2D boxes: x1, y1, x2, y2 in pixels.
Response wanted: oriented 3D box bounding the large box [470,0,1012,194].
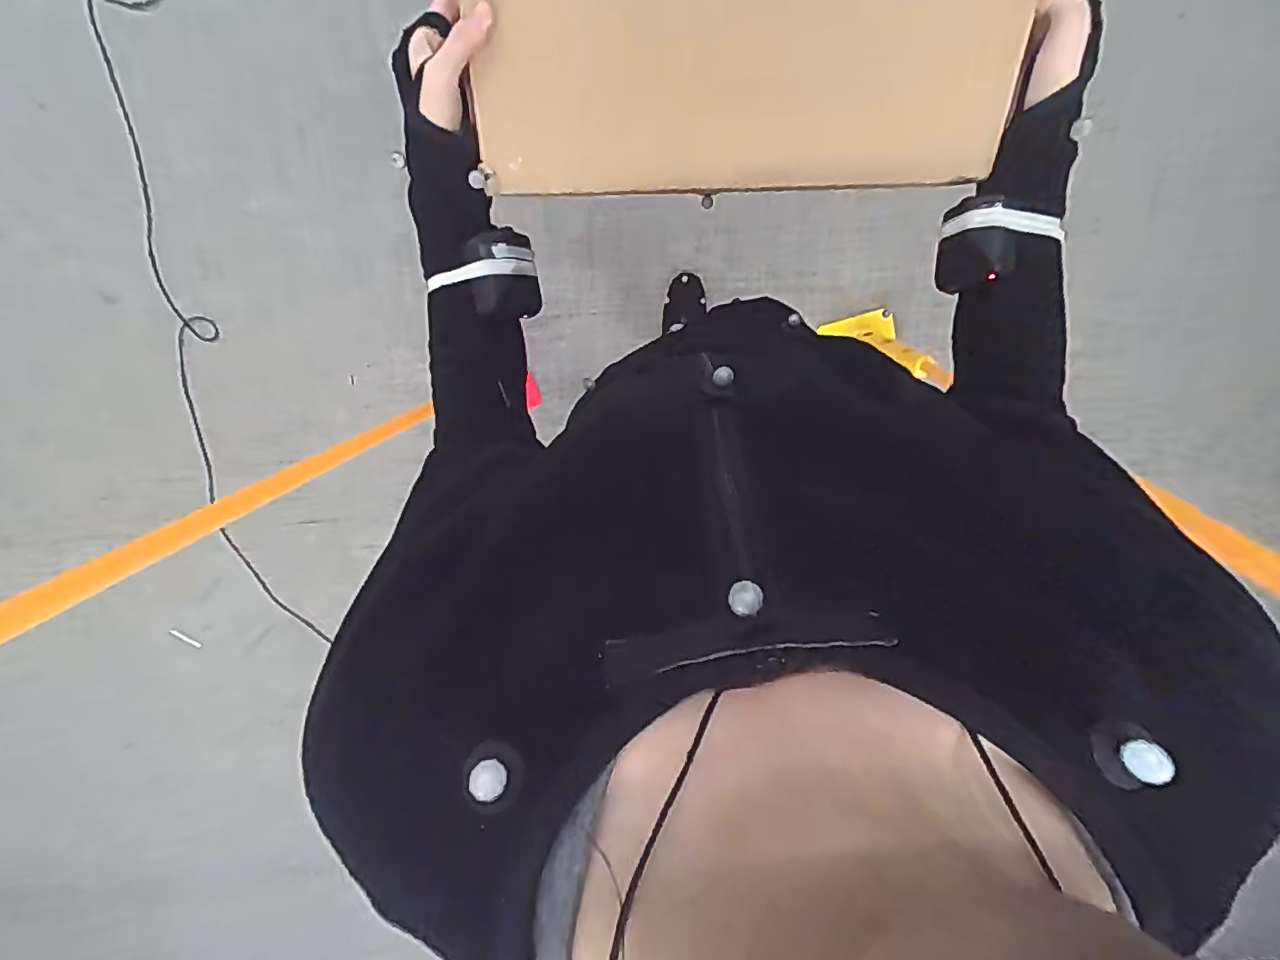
[{"bbox_3d":[0.070,-0.452,0.502,0.408,0.320,0.320,-3,118,-1],"label":"large box"}]
